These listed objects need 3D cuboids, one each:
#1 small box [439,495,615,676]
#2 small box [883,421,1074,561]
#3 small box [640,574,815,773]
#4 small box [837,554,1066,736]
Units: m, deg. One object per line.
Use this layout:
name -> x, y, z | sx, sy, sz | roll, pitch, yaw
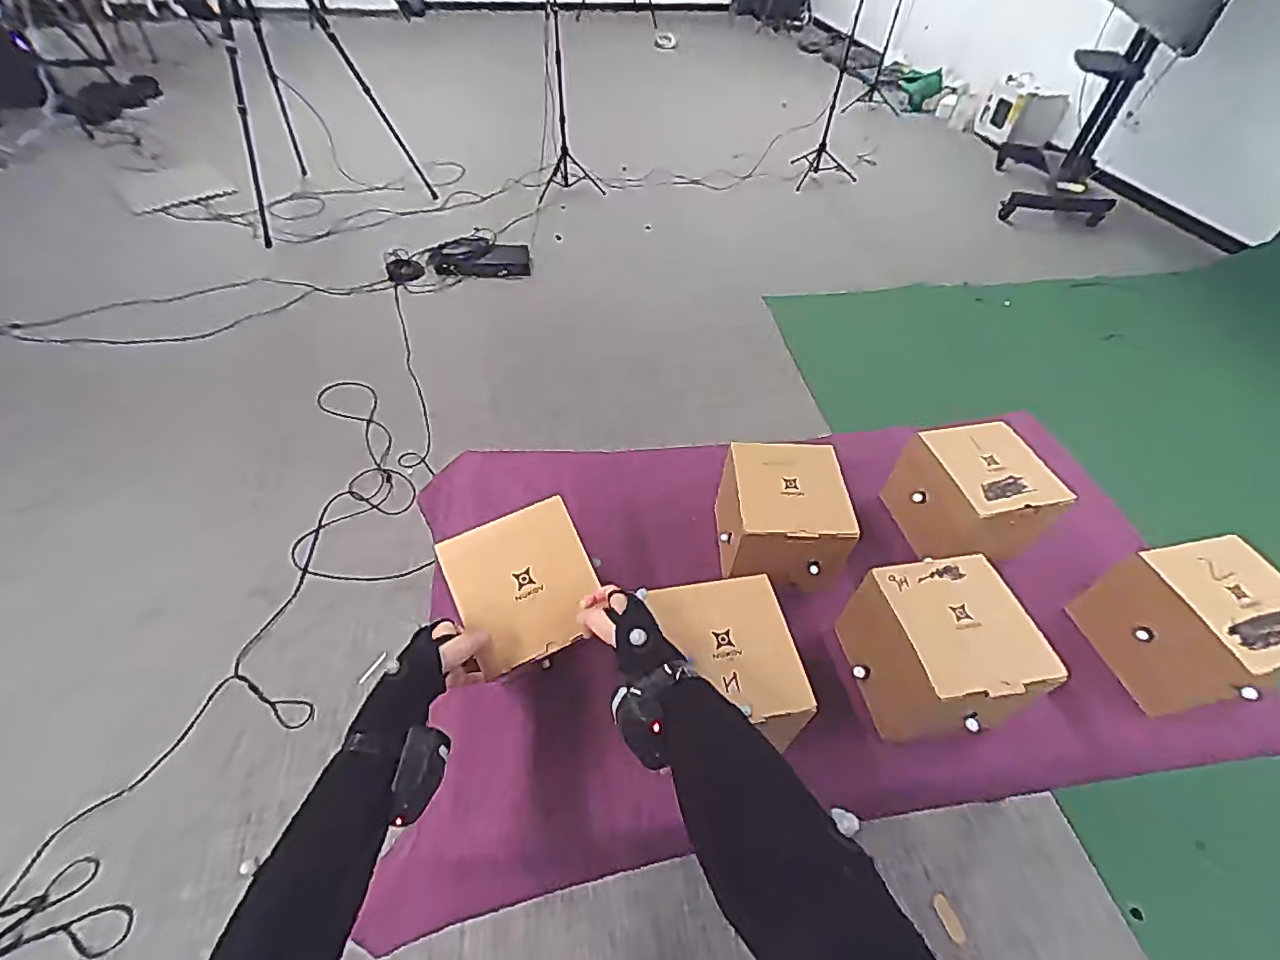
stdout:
small box -> -0.150, 0.147, 0.721 | 0.168, 0.176, 0.179 | -21, 75, -17
small box -> 0.539, 0.030, 0.893 | 0.168, 0.176, 0.179 | -7, 49, -9
small box -> 0.093, 0.245, 0.685 | 0.168, 0.176, 0.179 | -7, 49, -7
small box -> 0.390, 0.223, 0.717 | 0.168, 0.176, 0.179 | -5, 49, -8
